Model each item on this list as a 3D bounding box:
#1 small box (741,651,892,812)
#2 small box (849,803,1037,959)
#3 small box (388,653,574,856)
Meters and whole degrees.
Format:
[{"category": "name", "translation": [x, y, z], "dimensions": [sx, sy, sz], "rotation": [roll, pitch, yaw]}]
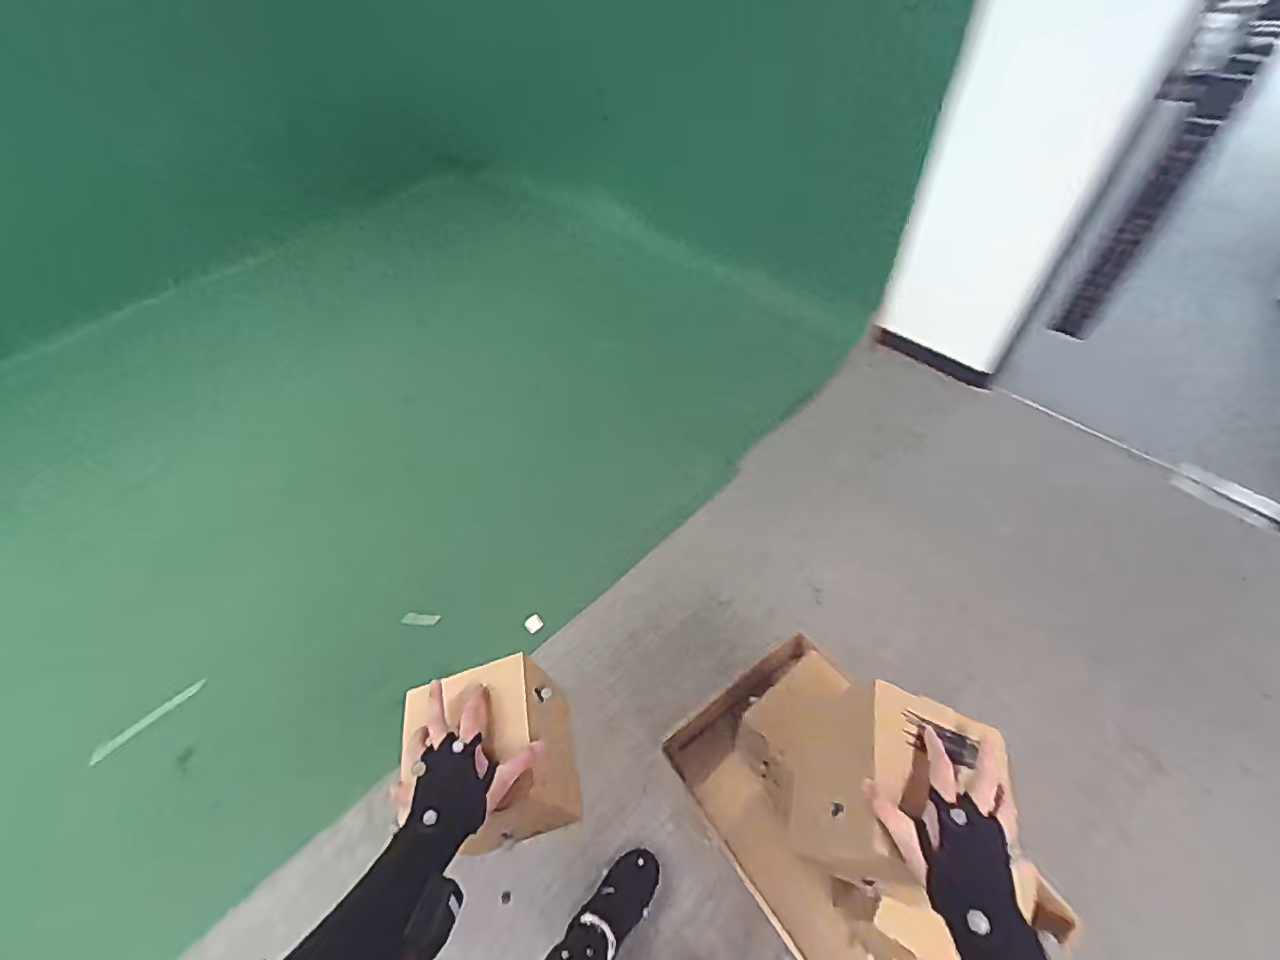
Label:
[{"category": "small box", "translation": [0.289, 0.434, 0.930], "dimensions": [0.179, 0.176, 0.168], "rotation": [-34, 57, -18]}, {"category": "small box", "translation": [0.422, 0.612, 0.780], "dimensions": [0.168, 0.176, 0.179], "rotation": [29, 60, 24]}, {"category": "small box", "translation": [-0.199, 0.361, 0.707], "dimensions": [0.168, 0.176, 0.179], "rotation": [-20, 48, 2]}]
